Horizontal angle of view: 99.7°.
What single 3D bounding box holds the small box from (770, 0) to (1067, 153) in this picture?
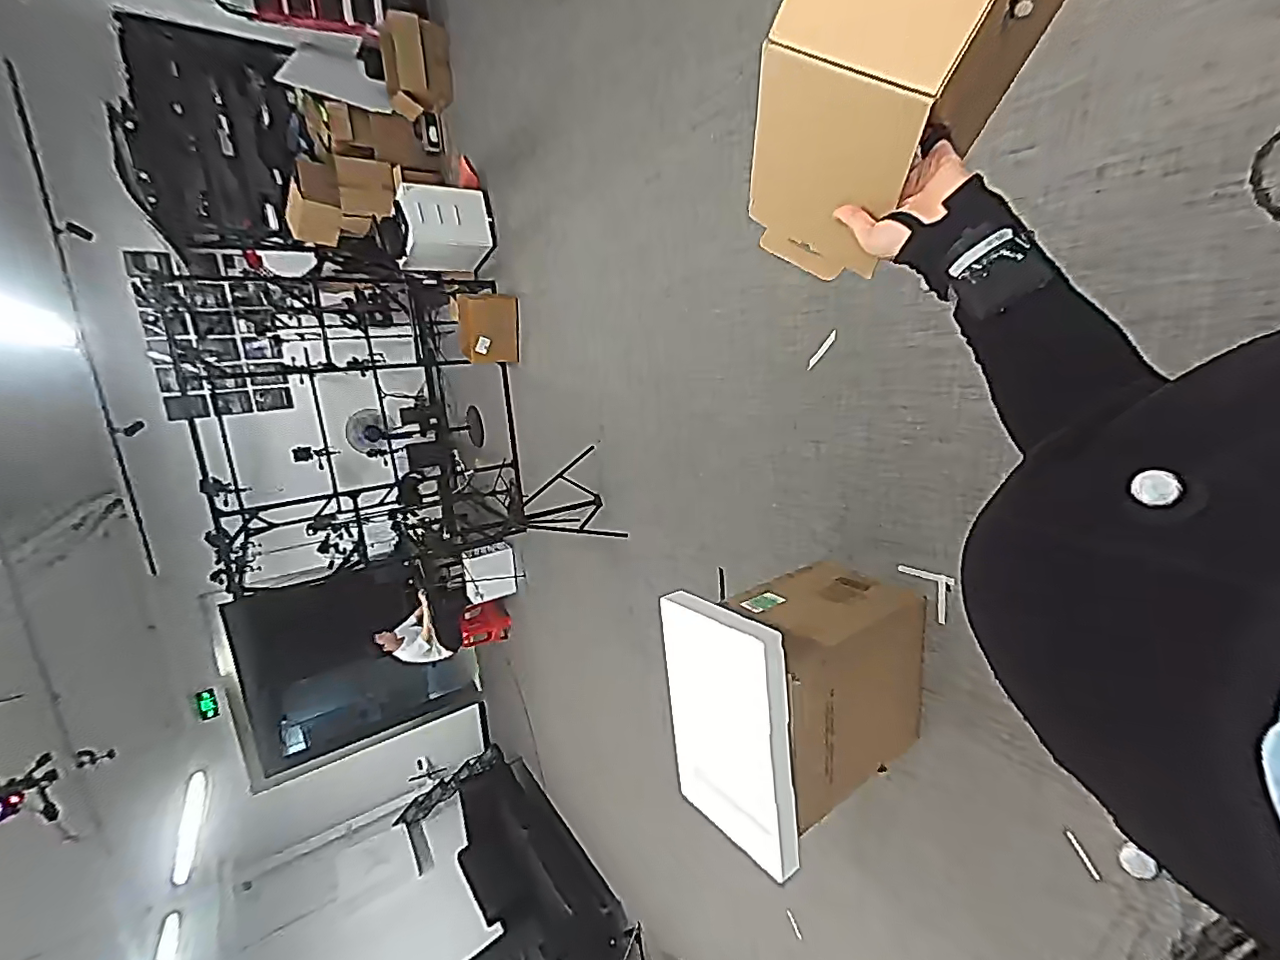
[{"bbox_3d":[0.251,-0.418,0.467,0.168,0.176,0.179,41,122,24],"label":"small box"}]
